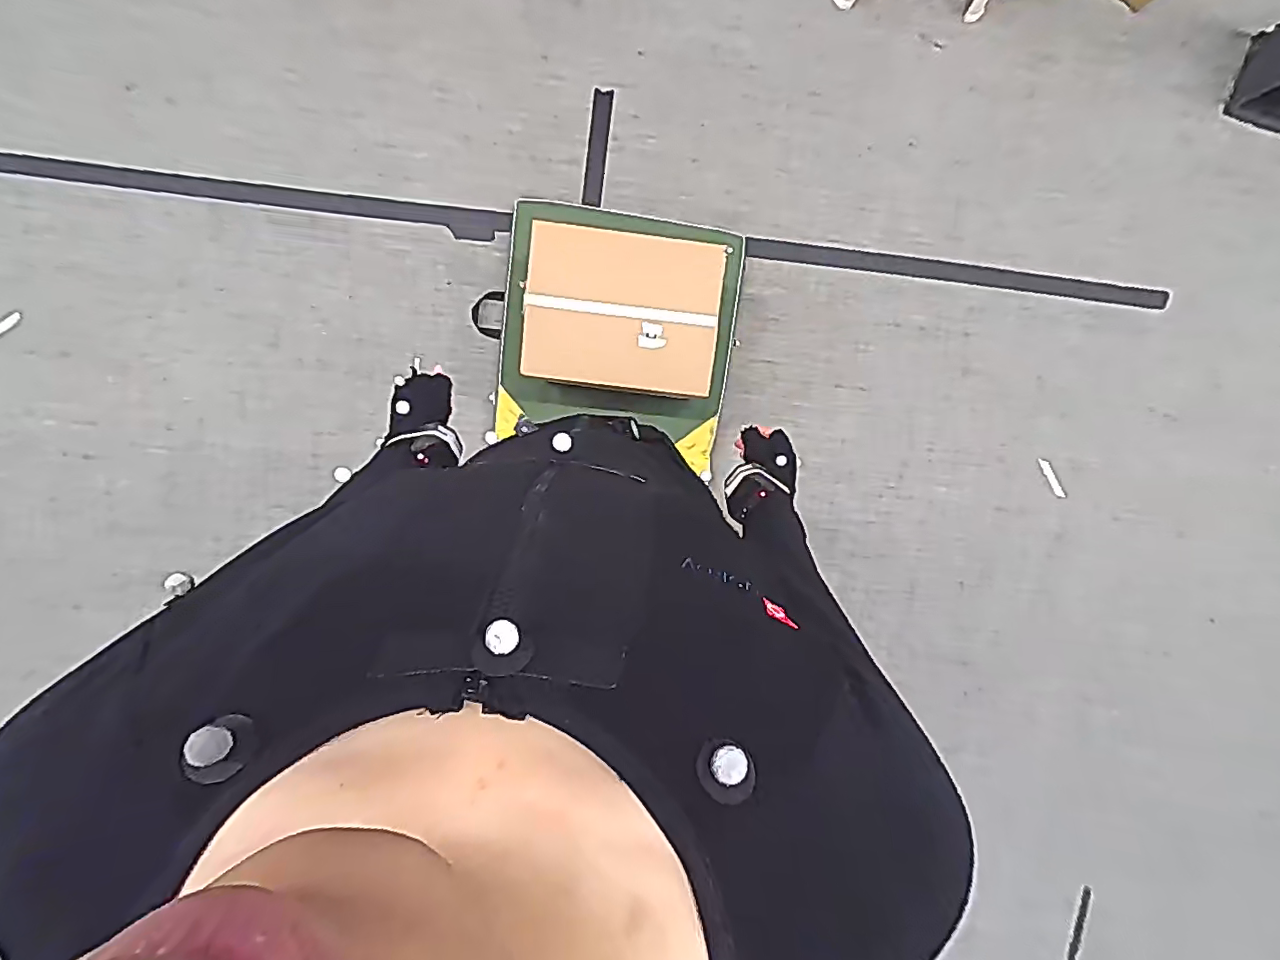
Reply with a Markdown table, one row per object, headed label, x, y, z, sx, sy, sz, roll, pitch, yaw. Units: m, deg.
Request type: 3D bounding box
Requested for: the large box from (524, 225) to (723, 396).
| label | x | y | z | sx | sy | sz | roll | pitch | yaw |
| --- | --- | --- | --- | --- | --- | --- | --- | --- | --- |
| large box | -0.045 | -0.377 | 1.287 | 0.408 | 0.320 | 0.320 | 6 | 98 | -4 |
